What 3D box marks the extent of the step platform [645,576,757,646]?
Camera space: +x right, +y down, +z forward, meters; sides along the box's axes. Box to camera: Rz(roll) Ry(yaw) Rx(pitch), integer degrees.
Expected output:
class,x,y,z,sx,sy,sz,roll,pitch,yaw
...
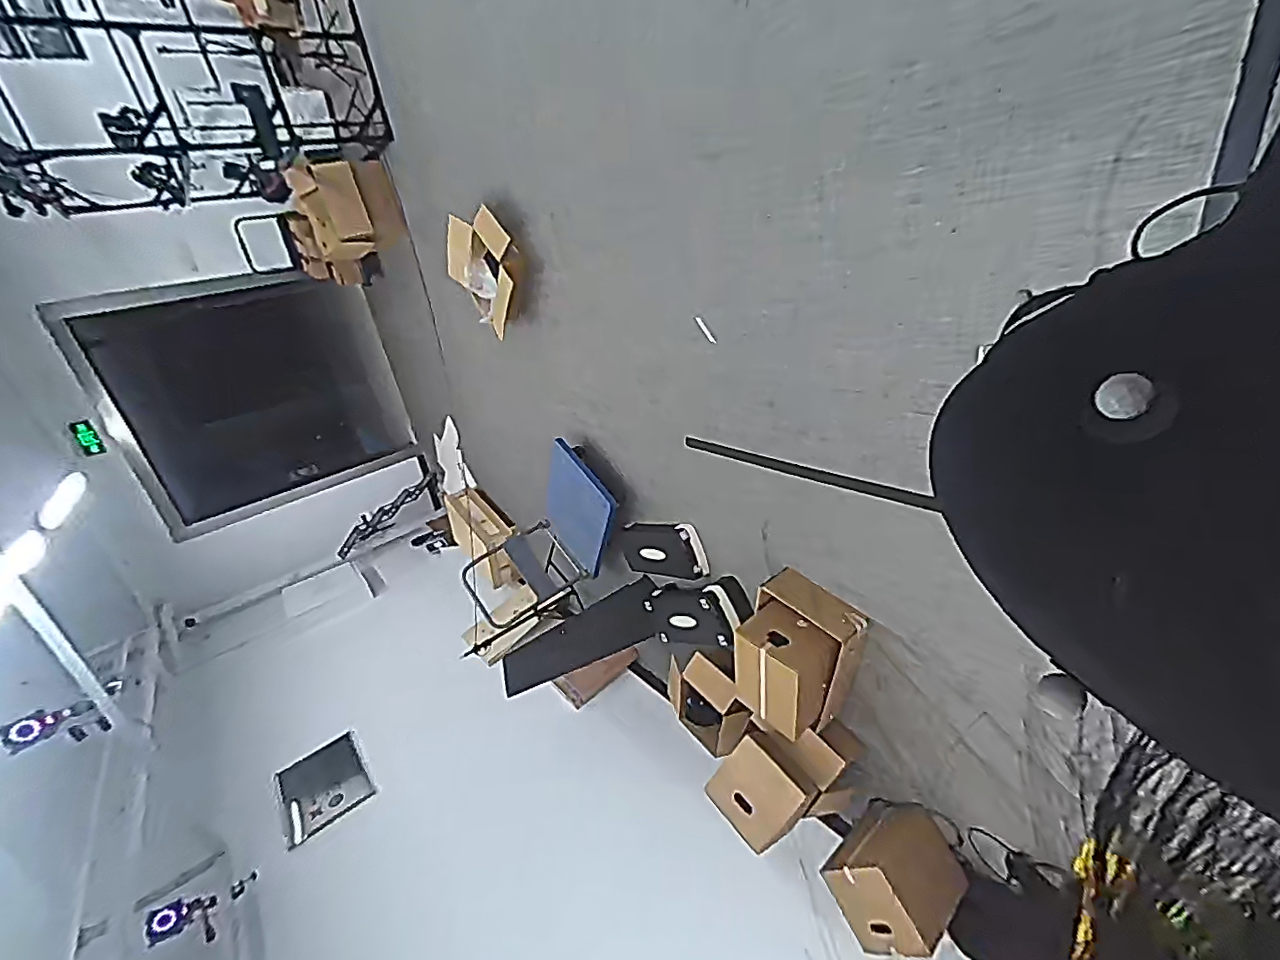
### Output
class,x,y,z,sx,sy,sz,roll,pitch,yaw
step platform,0.292,0.697,2.841,0.684,0.204,0.286,-26,90,58
